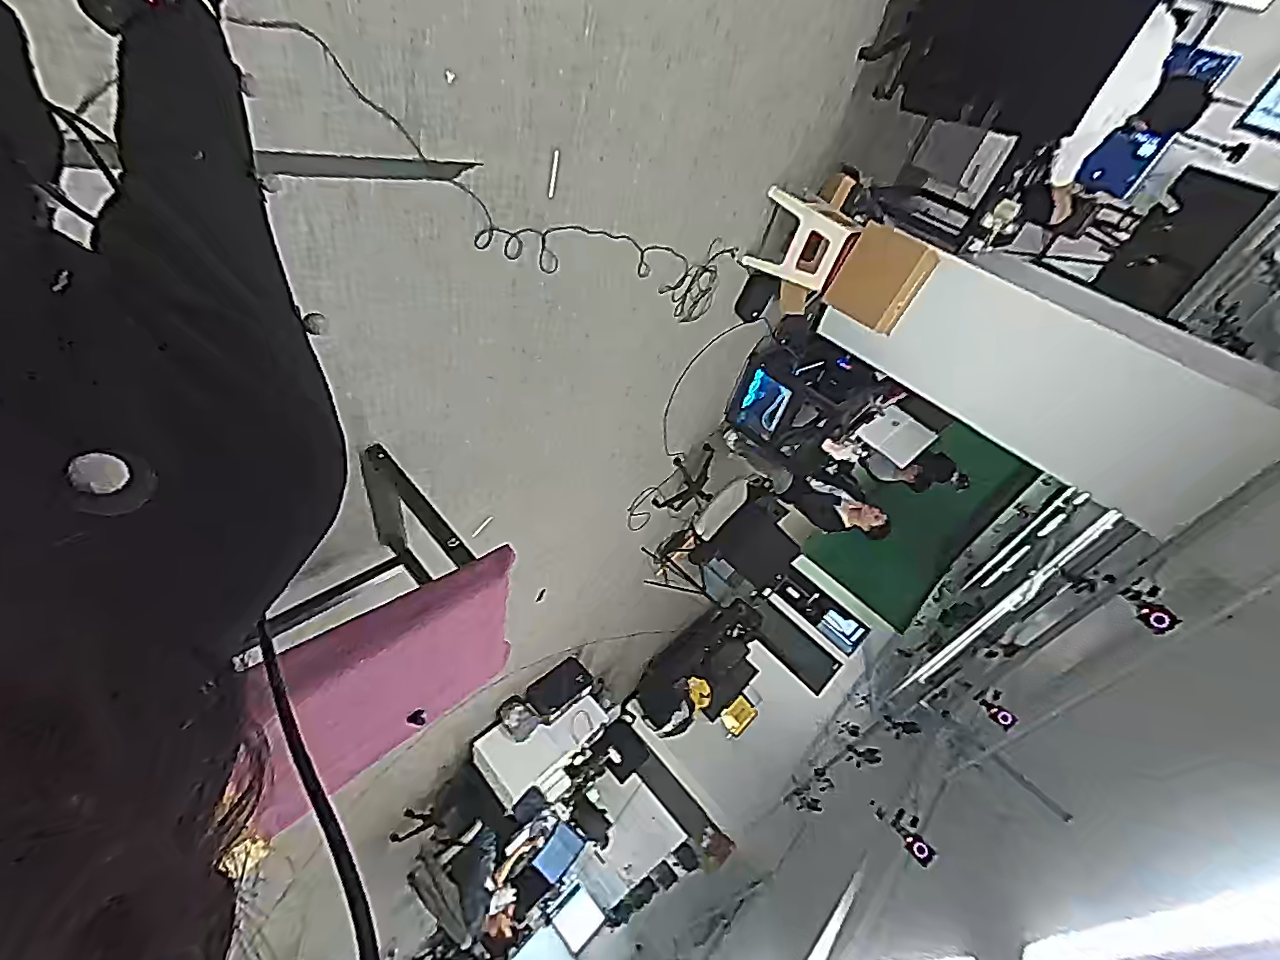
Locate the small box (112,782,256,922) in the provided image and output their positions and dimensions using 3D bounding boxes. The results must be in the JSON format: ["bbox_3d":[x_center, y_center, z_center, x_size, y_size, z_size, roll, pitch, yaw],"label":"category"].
[{"bbox_3d":[-0.991,0.806,1.183,0.179,0.176,0.168,-30,150,-38],"label":"small box"}]
